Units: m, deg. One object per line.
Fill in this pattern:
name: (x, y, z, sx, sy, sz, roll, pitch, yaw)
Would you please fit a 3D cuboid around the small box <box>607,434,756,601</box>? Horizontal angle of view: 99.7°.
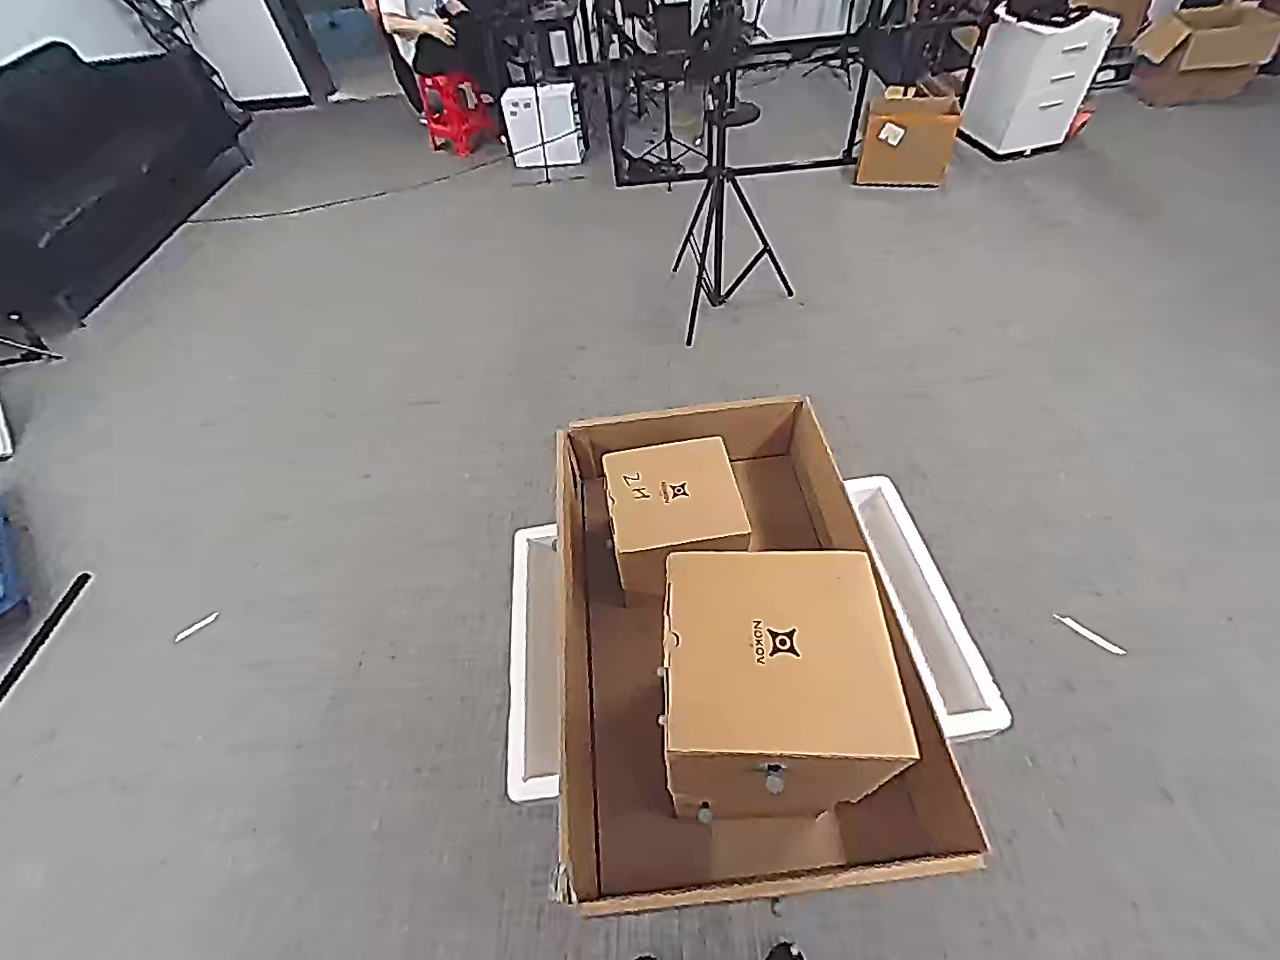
small box: (0.053, 0.058, 0.783, 0.179, 0.176, 0.168, -9, 53, -3)
